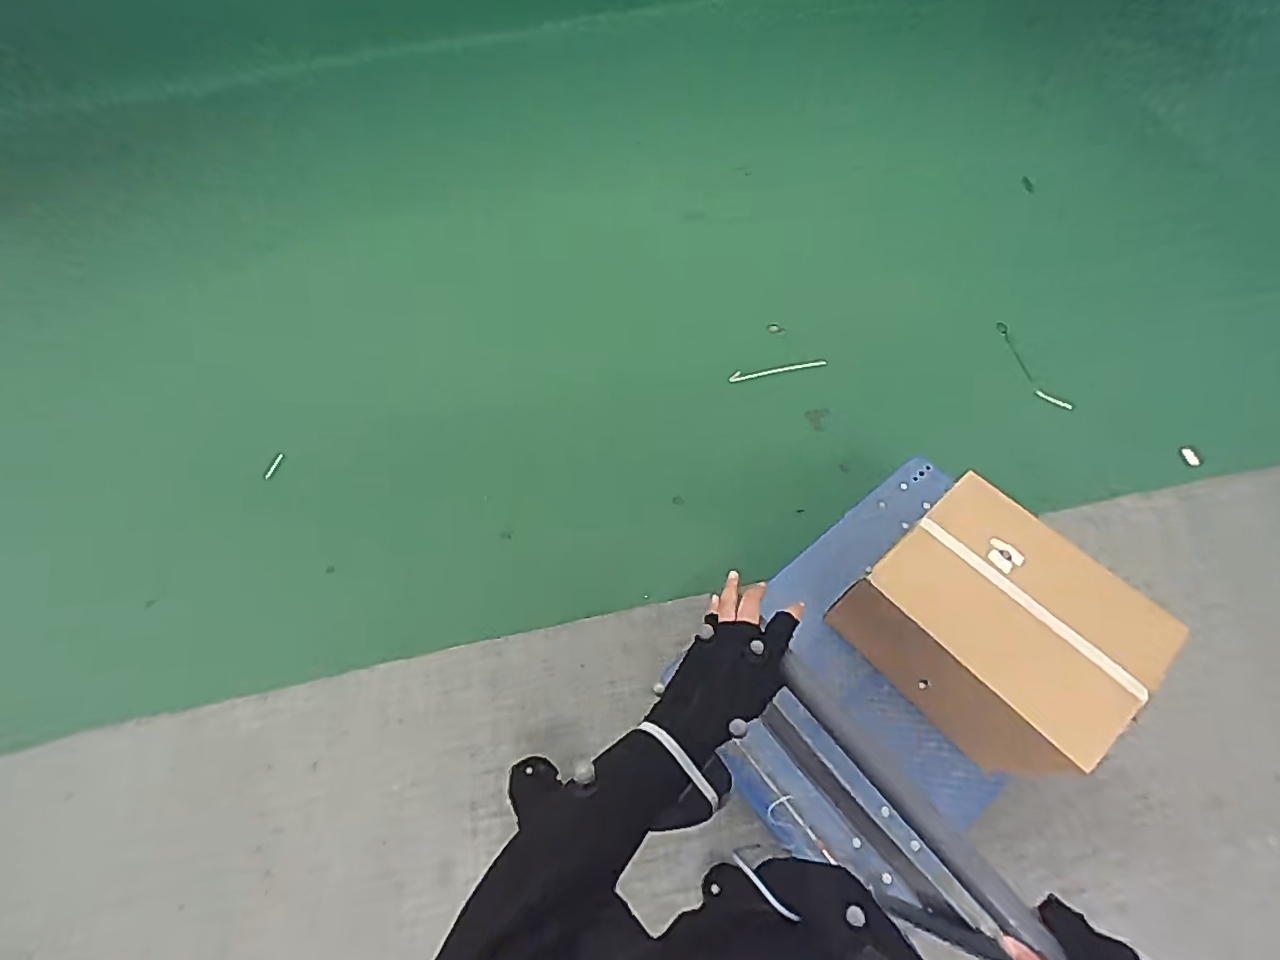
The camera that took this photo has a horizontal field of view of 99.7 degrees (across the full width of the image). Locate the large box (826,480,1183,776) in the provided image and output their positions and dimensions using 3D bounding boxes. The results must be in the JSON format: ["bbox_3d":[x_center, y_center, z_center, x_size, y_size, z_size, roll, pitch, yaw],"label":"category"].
[{"bbox_3d":[0.637,0.284,1.030,0.320,0.320,0.408,-38,65,-15],"label":"large box"}]
